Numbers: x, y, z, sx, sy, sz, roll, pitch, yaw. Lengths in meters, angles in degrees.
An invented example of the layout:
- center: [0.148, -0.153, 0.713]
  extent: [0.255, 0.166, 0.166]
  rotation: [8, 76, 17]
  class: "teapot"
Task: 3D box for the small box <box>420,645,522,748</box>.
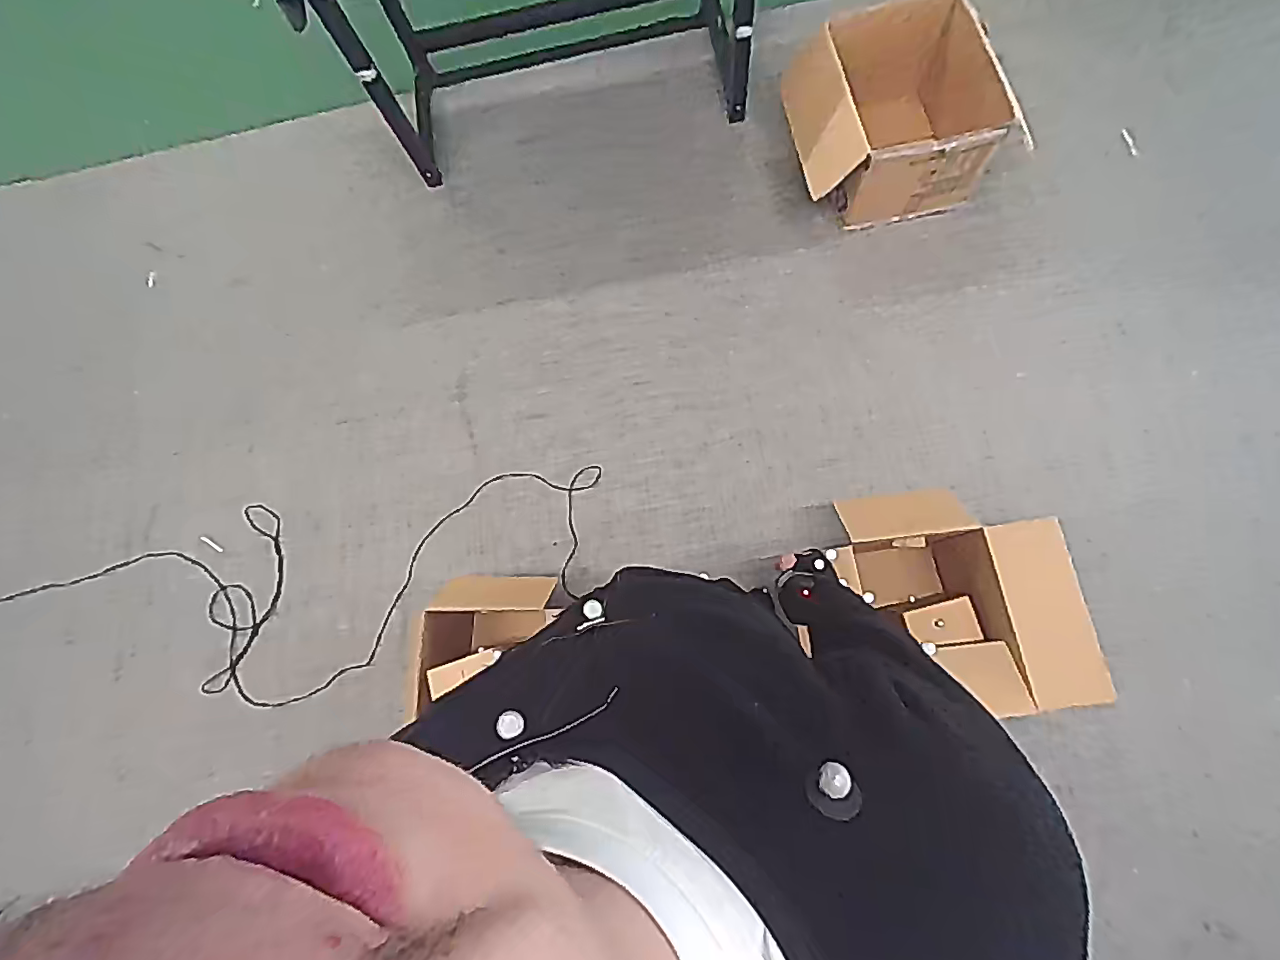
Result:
- center: [-0.390, 0.500, 1.274]
  extent: [0.168, 0.176, 0.179]
  rotation: [-16, 76, 1]
  class: "small box"
